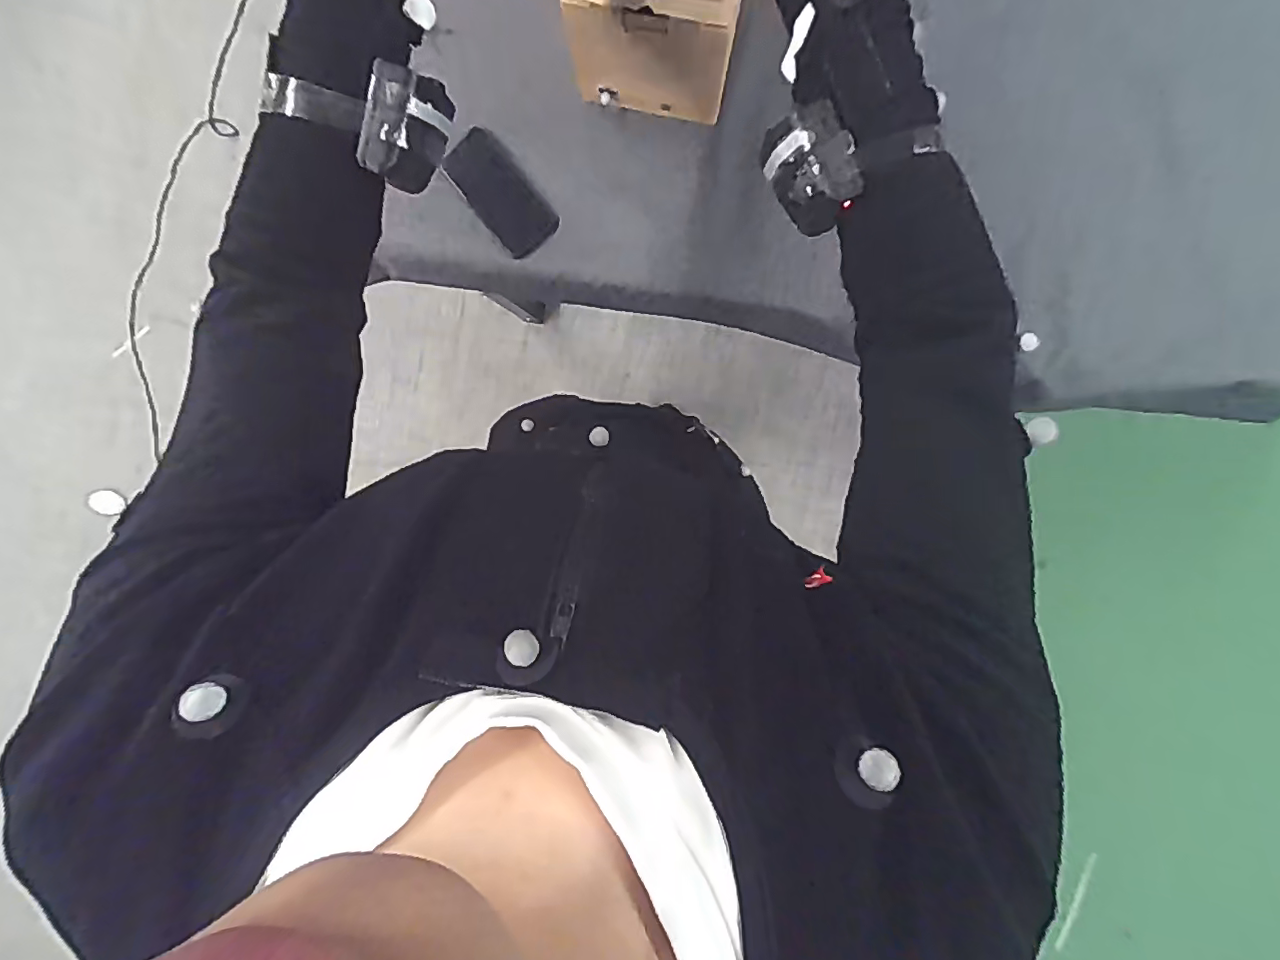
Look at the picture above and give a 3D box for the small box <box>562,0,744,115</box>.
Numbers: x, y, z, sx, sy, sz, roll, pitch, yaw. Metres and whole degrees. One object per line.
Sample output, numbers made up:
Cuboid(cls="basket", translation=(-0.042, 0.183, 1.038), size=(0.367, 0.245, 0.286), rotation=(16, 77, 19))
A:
Cuboid(cls="small box", translation=(0.028, -0.525, 0.565), size=(0.168, 0.176, 0.179), rotation=(12, 97, 1))
